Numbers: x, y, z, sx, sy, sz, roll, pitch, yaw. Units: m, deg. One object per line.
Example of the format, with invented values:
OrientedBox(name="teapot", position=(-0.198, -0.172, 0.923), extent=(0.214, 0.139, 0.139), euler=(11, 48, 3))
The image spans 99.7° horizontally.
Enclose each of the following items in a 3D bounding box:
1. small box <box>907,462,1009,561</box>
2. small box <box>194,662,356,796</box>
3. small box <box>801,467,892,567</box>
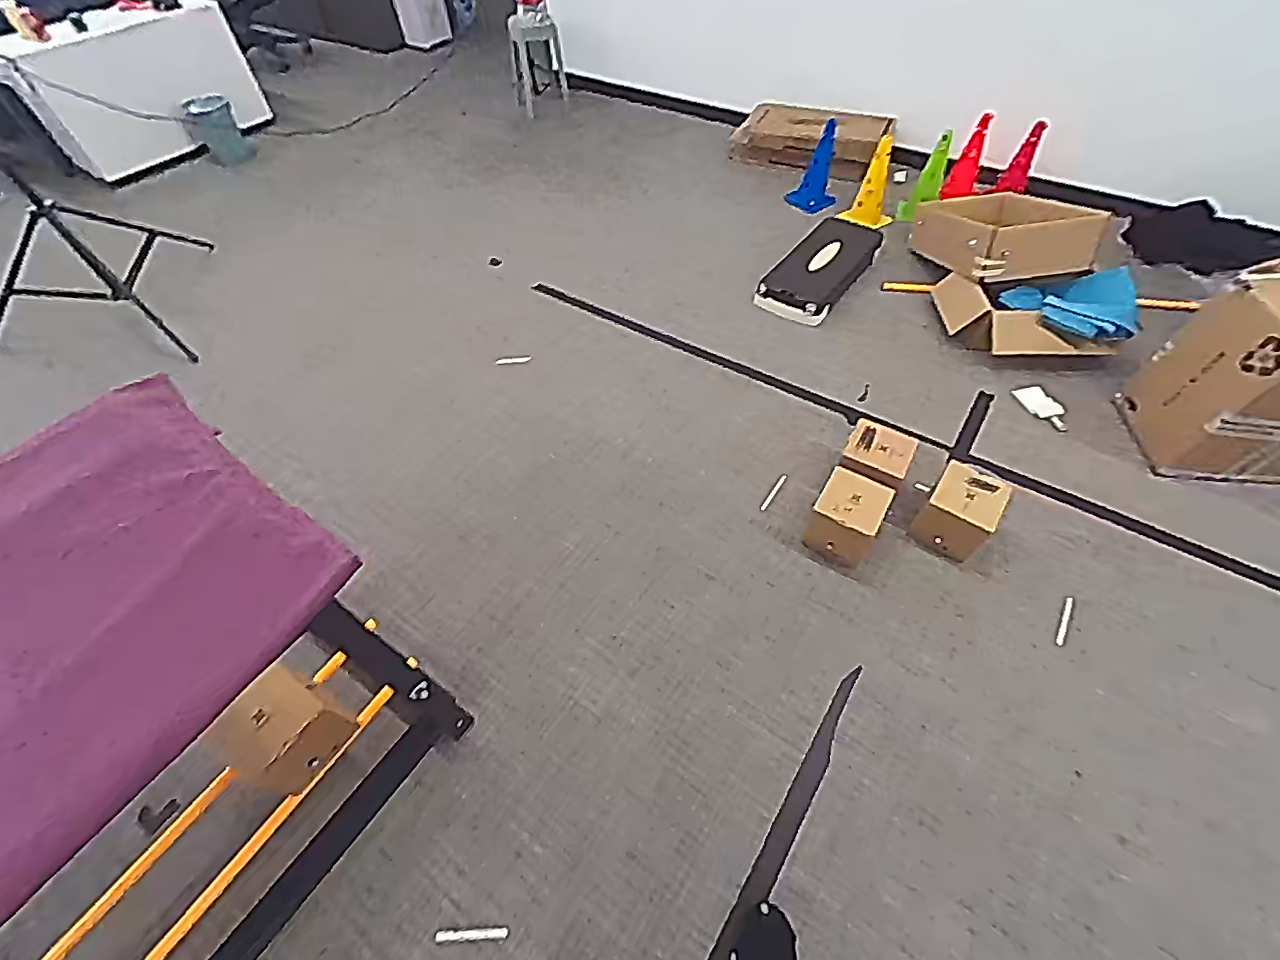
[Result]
OrientedBox(name="small box", position=(0.870, 0.089, 1.493), extent=(0.168, 0.176, 0.179), euler=(30, 60, 22))
OrientedBox(name="small box", position=(-0.719, 0.503, 1.083), extent=(0.179, 0.176, 0.168), euler=(28, 60, 19))
OrientedBox(name="small box", position=(0.561, 0.104, 1.489), extent=(0.168, 0.176, 0.179), euler=(27, 58, 21))
